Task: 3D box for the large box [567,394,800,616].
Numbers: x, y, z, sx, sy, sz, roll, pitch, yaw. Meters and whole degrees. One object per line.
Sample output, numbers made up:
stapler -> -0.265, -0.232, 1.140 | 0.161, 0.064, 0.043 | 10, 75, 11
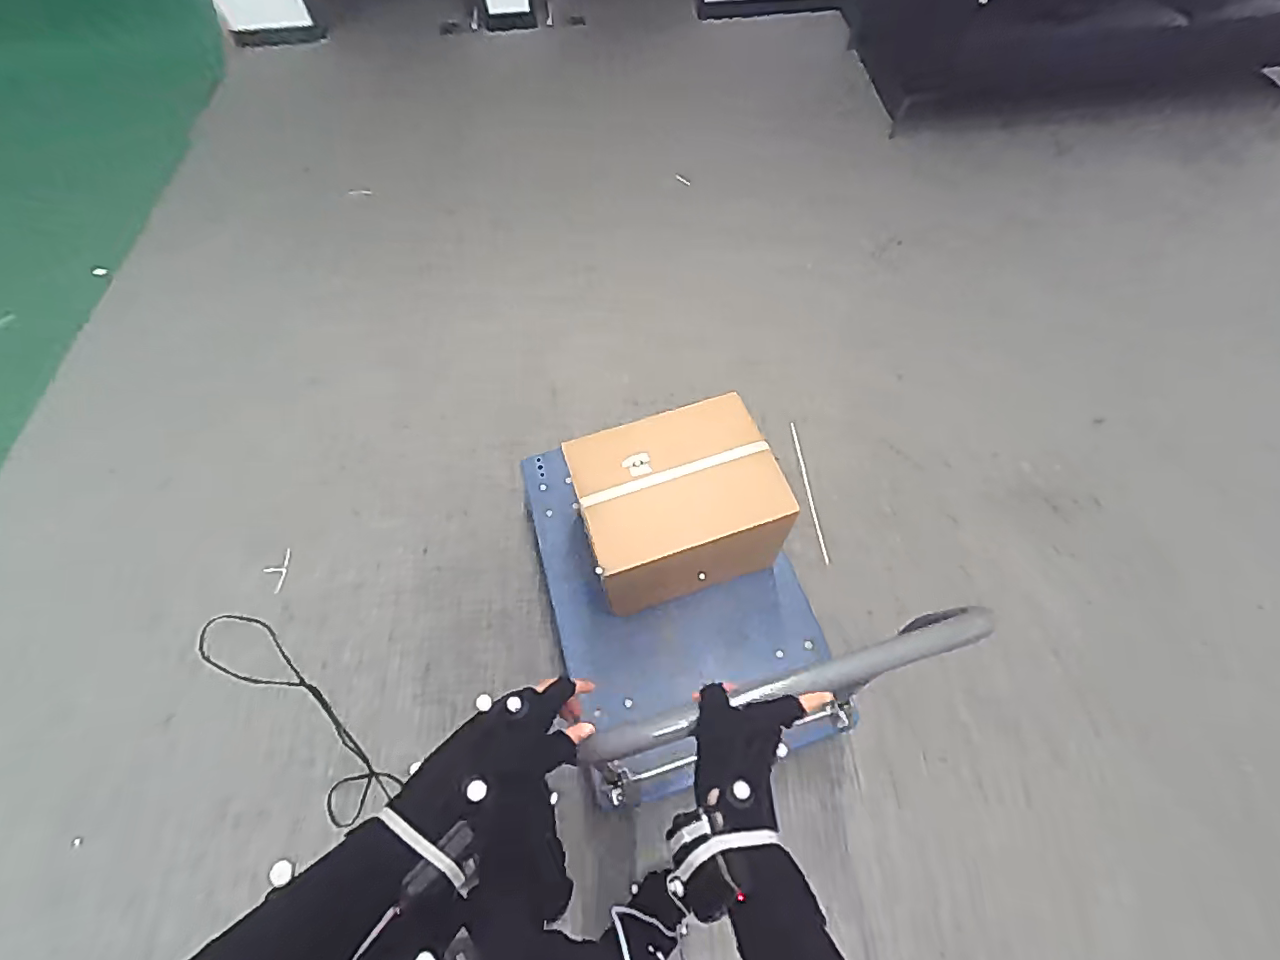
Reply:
large box -> 0.087, 0.066, 1.231 | 0.408, 0.320, 0.320 | -19, 62, -7
